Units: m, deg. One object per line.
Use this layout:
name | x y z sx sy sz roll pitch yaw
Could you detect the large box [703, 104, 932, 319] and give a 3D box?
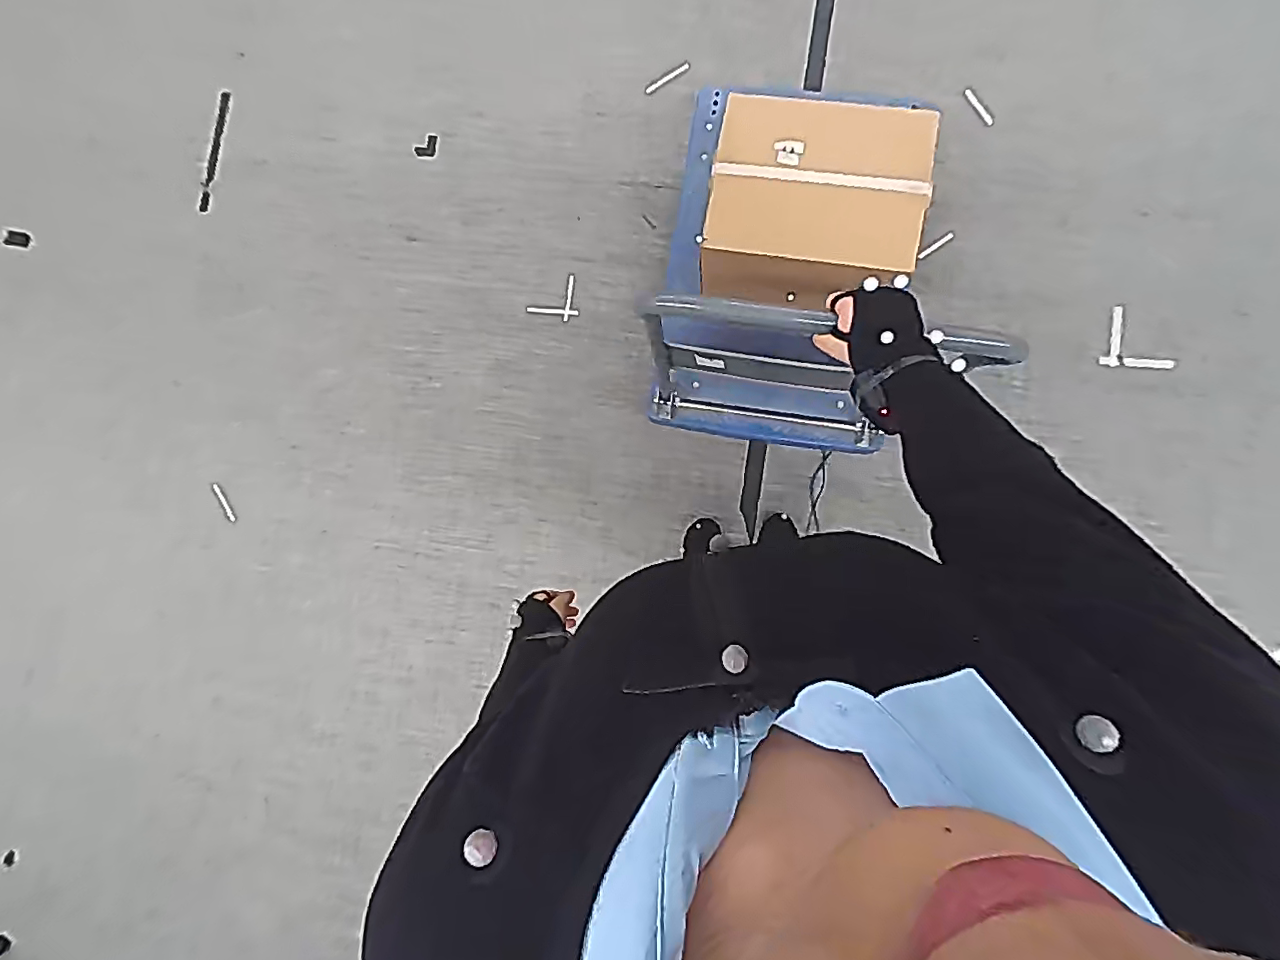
large box | 0.365 -0.572 1.201 0.408 0.320 0.320 9 88 9
